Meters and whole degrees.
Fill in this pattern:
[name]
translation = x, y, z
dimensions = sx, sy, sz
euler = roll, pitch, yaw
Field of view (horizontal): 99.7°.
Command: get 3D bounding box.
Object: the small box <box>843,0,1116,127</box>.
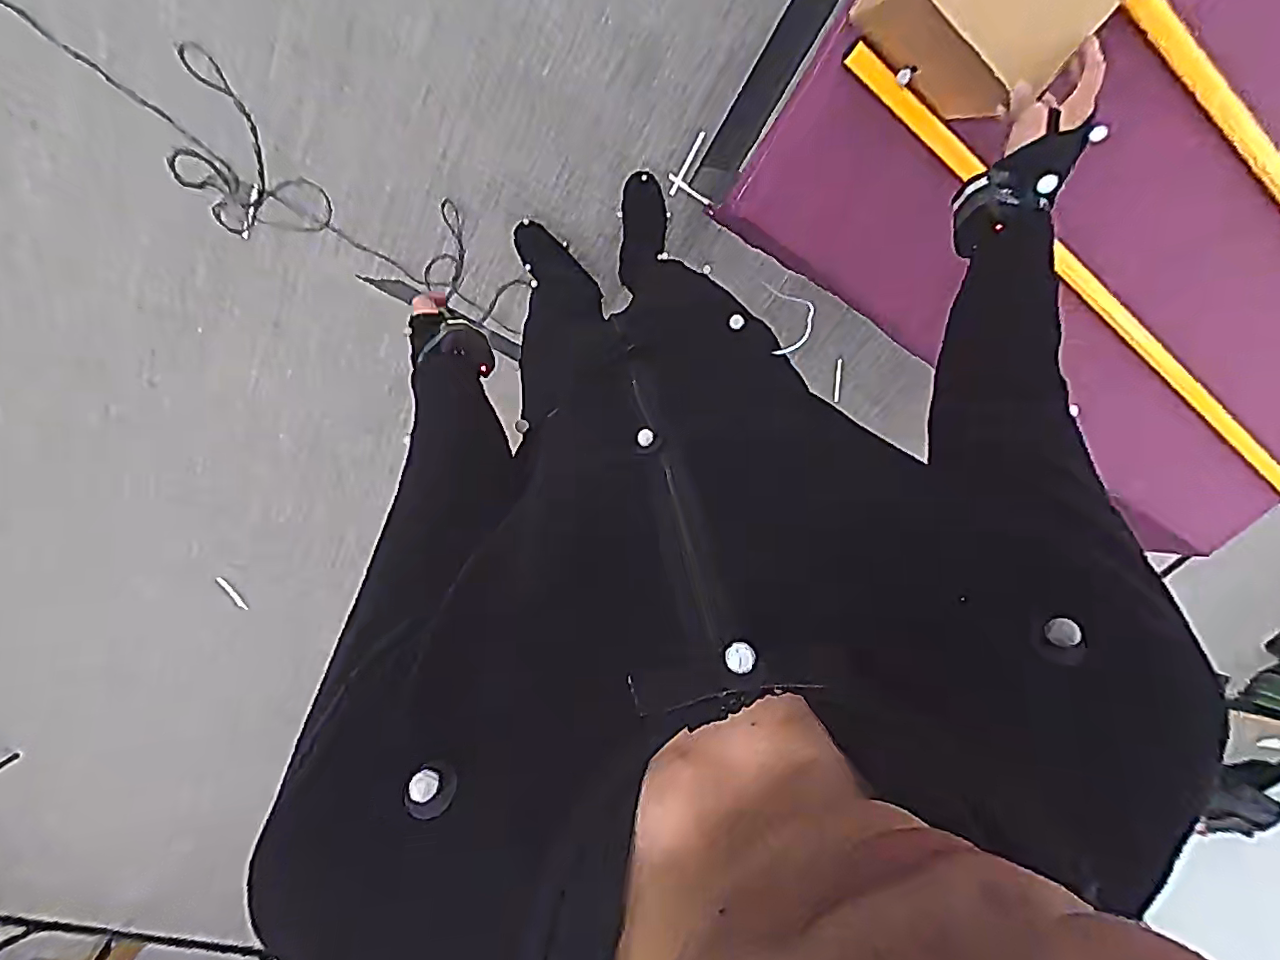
[small box]
translation = 0.356, -0.512, 0.573
dimensions = 0.179, 0.176, 0.168
euler = 29, 115, -21
